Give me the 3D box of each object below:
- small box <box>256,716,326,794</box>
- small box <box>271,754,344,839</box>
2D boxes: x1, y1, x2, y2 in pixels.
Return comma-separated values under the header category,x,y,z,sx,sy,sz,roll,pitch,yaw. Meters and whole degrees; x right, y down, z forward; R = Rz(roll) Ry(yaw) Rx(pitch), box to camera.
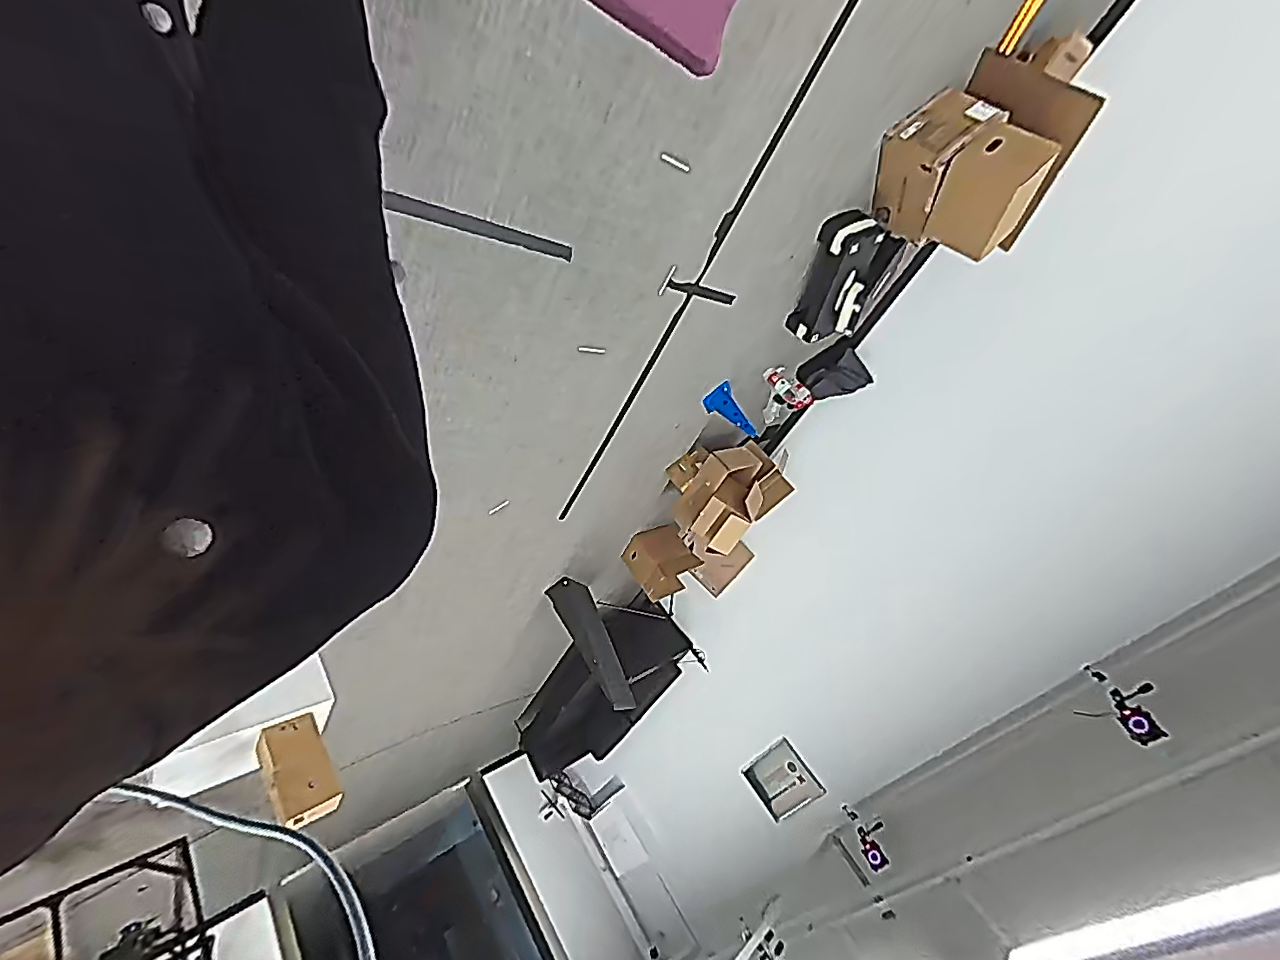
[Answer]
category,x,y,z,sx,sy,sz,roll,pitch,yaw
small box,-1.282,1.001,1.980,0.168,0.176,0.179,-7,140,-49
small box,-1.184,1.115,1.914,0.179,0.176,0.168,-12,145,-47
